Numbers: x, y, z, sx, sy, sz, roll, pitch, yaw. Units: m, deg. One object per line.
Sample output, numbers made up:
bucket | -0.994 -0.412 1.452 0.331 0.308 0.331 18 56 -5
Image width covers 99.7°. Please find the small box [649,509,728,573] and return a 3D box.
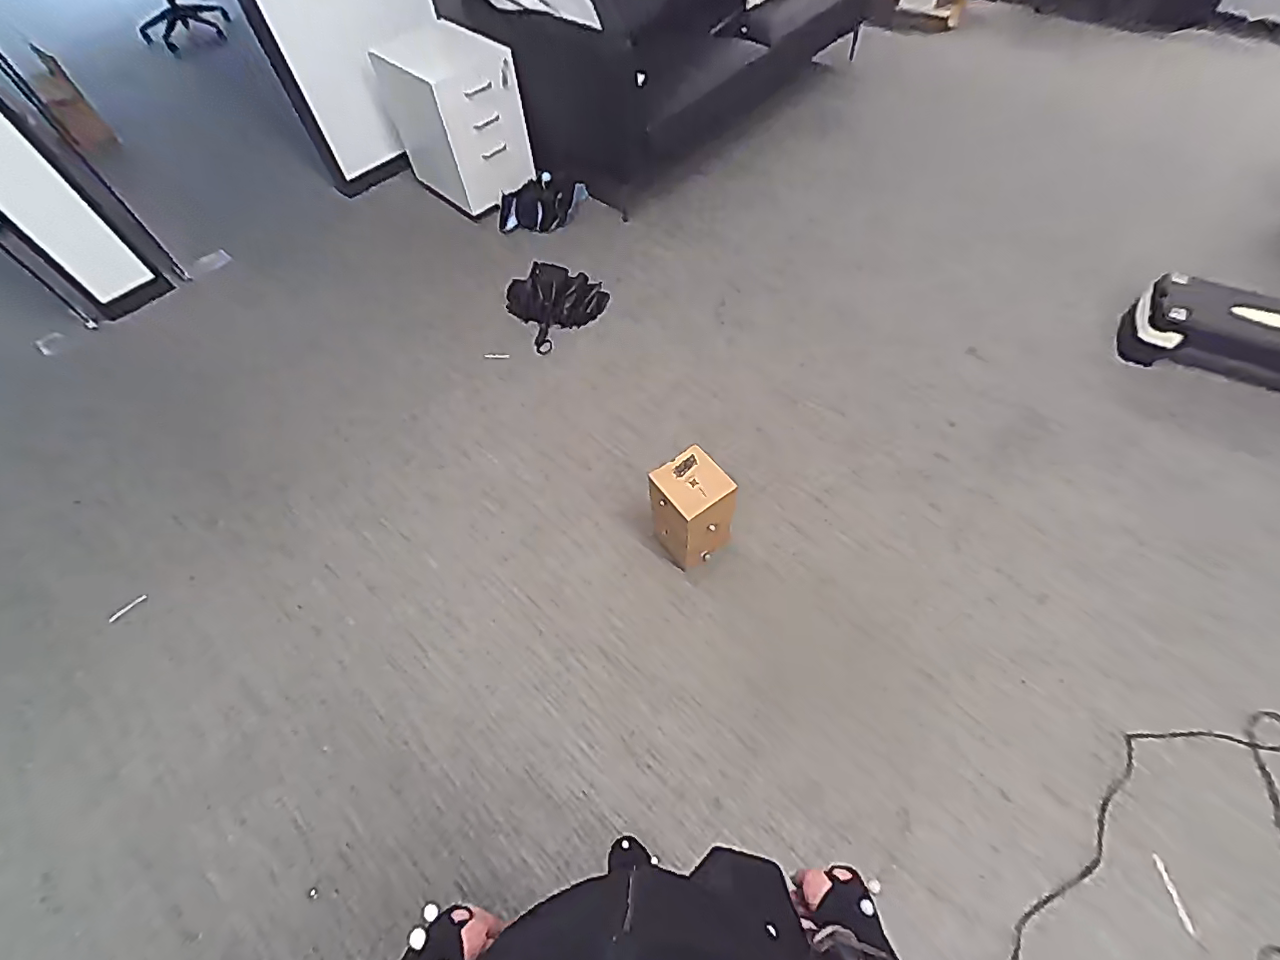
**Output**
small box | 0.142 0.148 1.627 0.168 0.176 0.179 -34 63 -16

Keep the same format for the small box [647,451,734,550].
small box | 0.135 0.060 1.488 0.168 0.176 0.179 -32 62 -15
